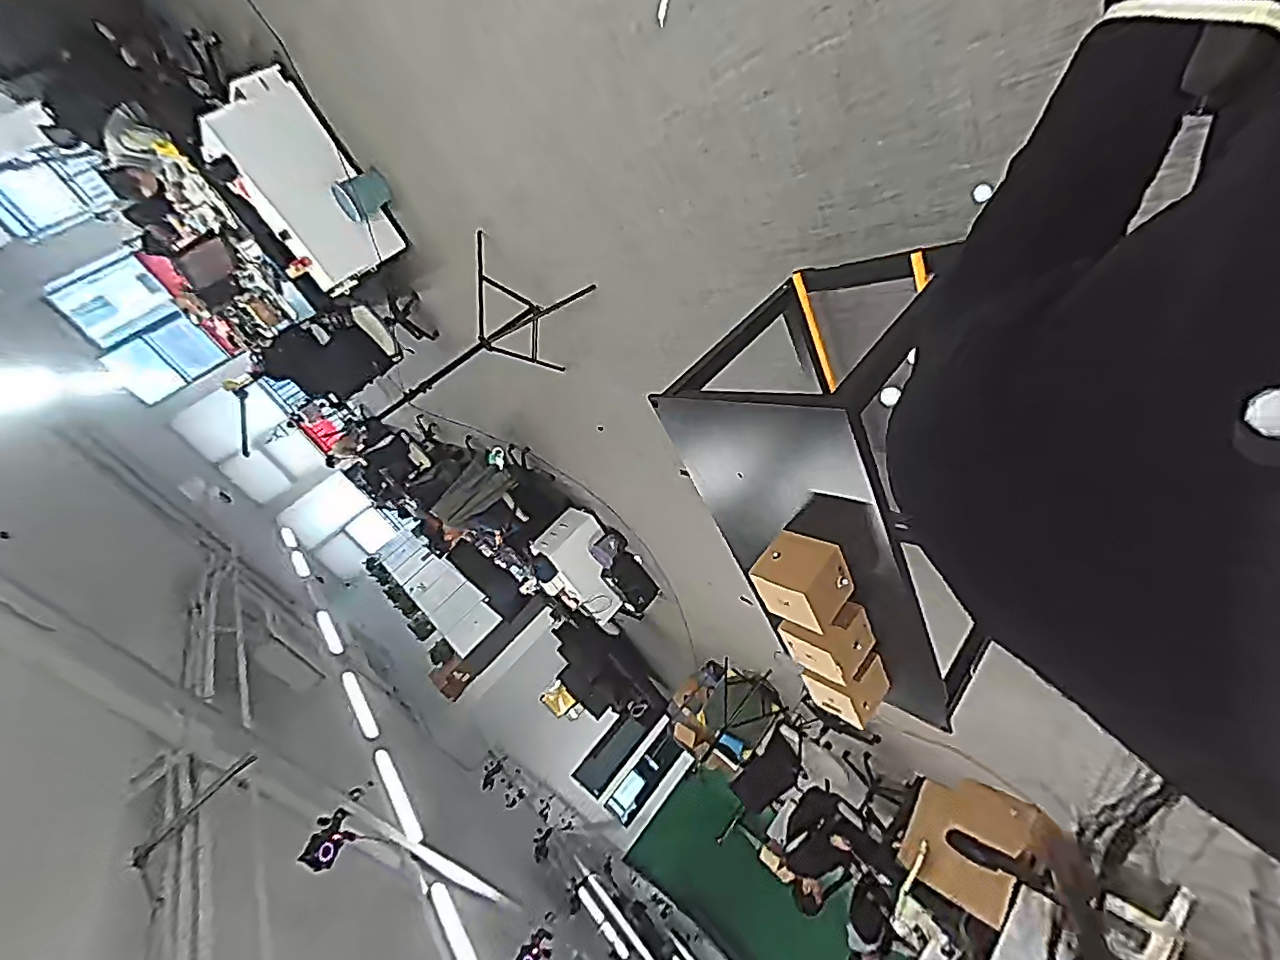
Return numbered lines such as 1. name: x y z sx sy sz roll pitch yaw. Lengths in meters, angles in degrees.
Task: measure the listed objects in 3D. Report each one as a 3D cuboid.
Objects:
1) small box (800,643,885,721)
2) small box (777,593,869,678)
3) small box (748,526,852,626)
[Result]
1. small box: 0.626 0.589 1.657 0.168 0.176 0.179 15 143 50
2. small box: 0.528 0.419 1.533 0.179 0.176 0.168 15 143 51
3. small box: 0.421 0.242 1.415 0.179 0.176 0.168 13 143 51
